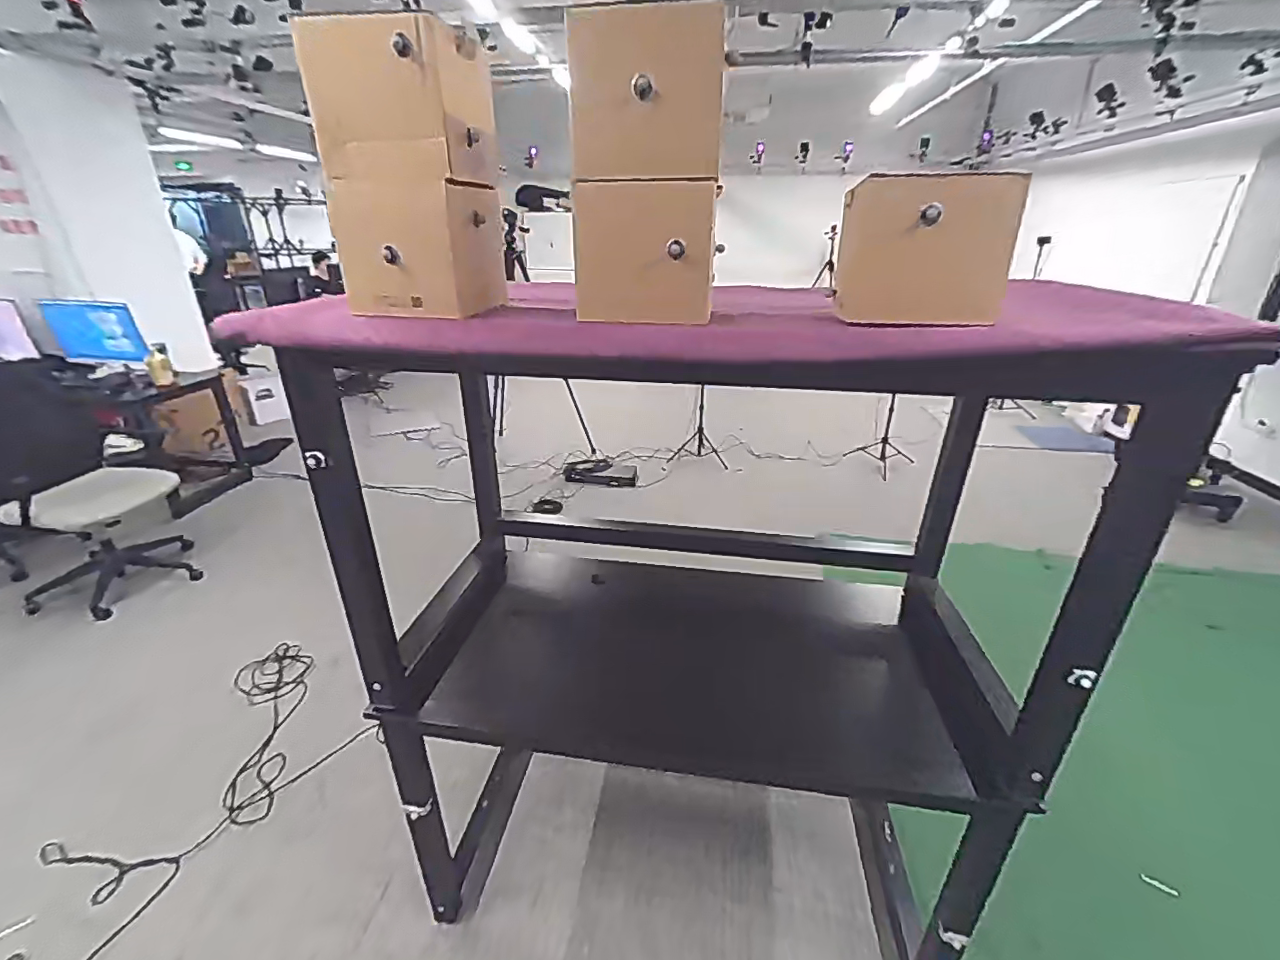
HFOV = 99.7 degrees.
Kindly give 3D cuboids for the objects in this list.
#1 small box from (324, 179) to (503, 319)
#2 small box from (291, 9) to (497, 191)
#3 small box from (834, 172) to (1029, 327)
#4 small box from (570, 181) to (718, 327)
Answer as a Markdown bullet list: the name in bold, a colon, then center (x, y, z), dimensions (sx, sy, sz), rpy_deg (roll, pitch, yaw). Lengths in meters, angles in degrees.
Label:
- **small box**: center (-0.306, -0.330, 0.775), dimensions (0.168, 0.176, 0.179), rpy_deg (5, 25, 7)
- **small box**: center (-0.302, -0.477, 0.705), dimensions (0.179, 0.176, 0.168), rpy_deg (4, 26, 6)
- **small box**: center (0.360, -0.295, 0.711), dimensions (0.179, 0.176, 0.168), rpy_deg (5, 23, 9)
- **small box**: center (0.013, -0.307, 0.740), dimensions (0.179, 0.176, 0.168), rpy_deg (3, 24, 7)
